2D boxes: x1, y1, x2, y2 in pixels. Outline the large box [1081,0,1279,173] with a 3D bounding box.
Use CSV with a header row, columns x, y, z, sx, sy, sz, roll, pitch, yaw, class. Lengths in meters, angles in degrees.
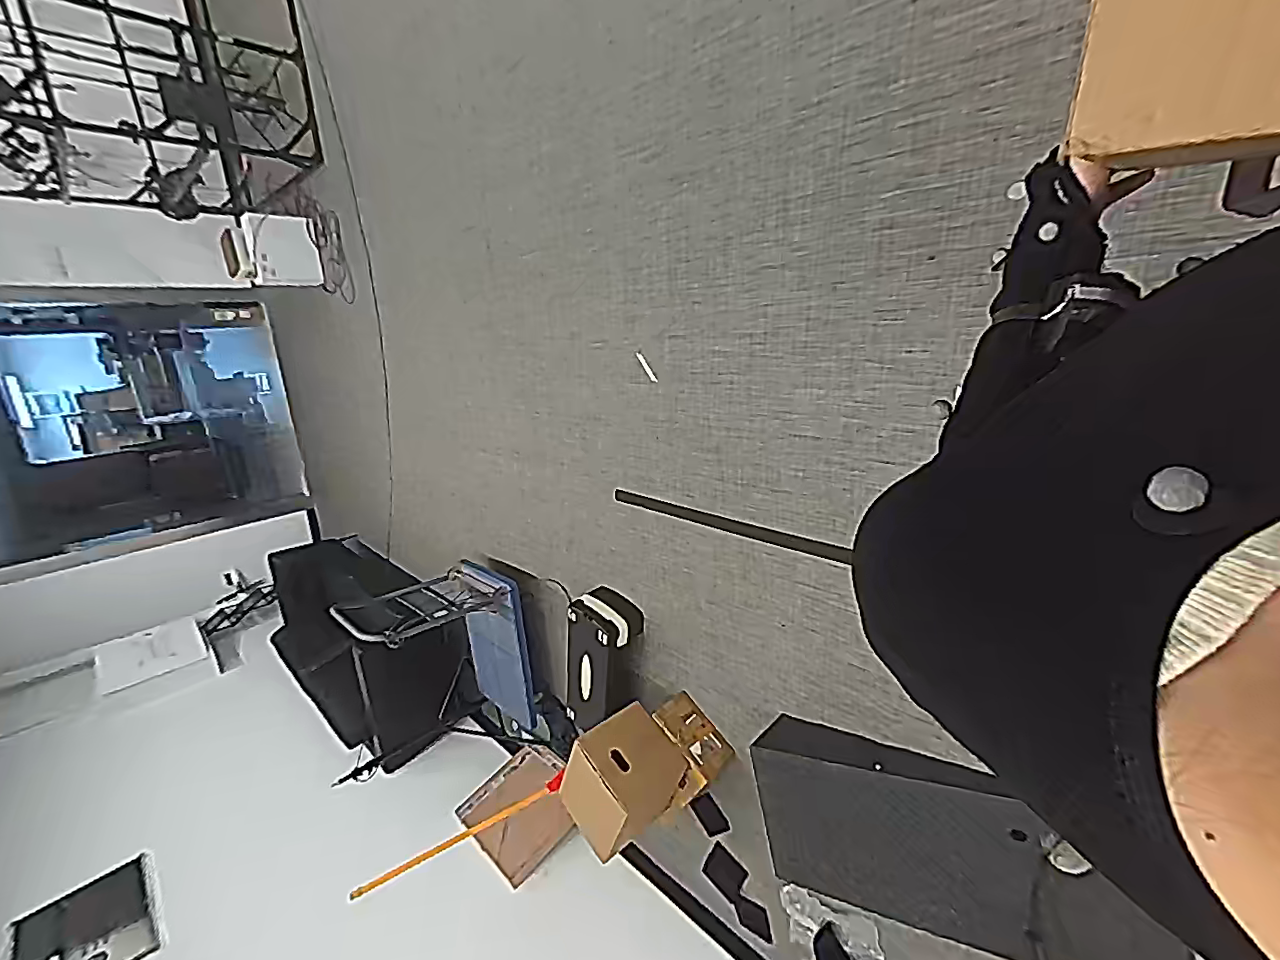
x,y,z,sx,sy,sz,roll,pitch,yaw,class
0.433,-0.305,0.170,0.408,0.320,0.320,15,122,38,large box
